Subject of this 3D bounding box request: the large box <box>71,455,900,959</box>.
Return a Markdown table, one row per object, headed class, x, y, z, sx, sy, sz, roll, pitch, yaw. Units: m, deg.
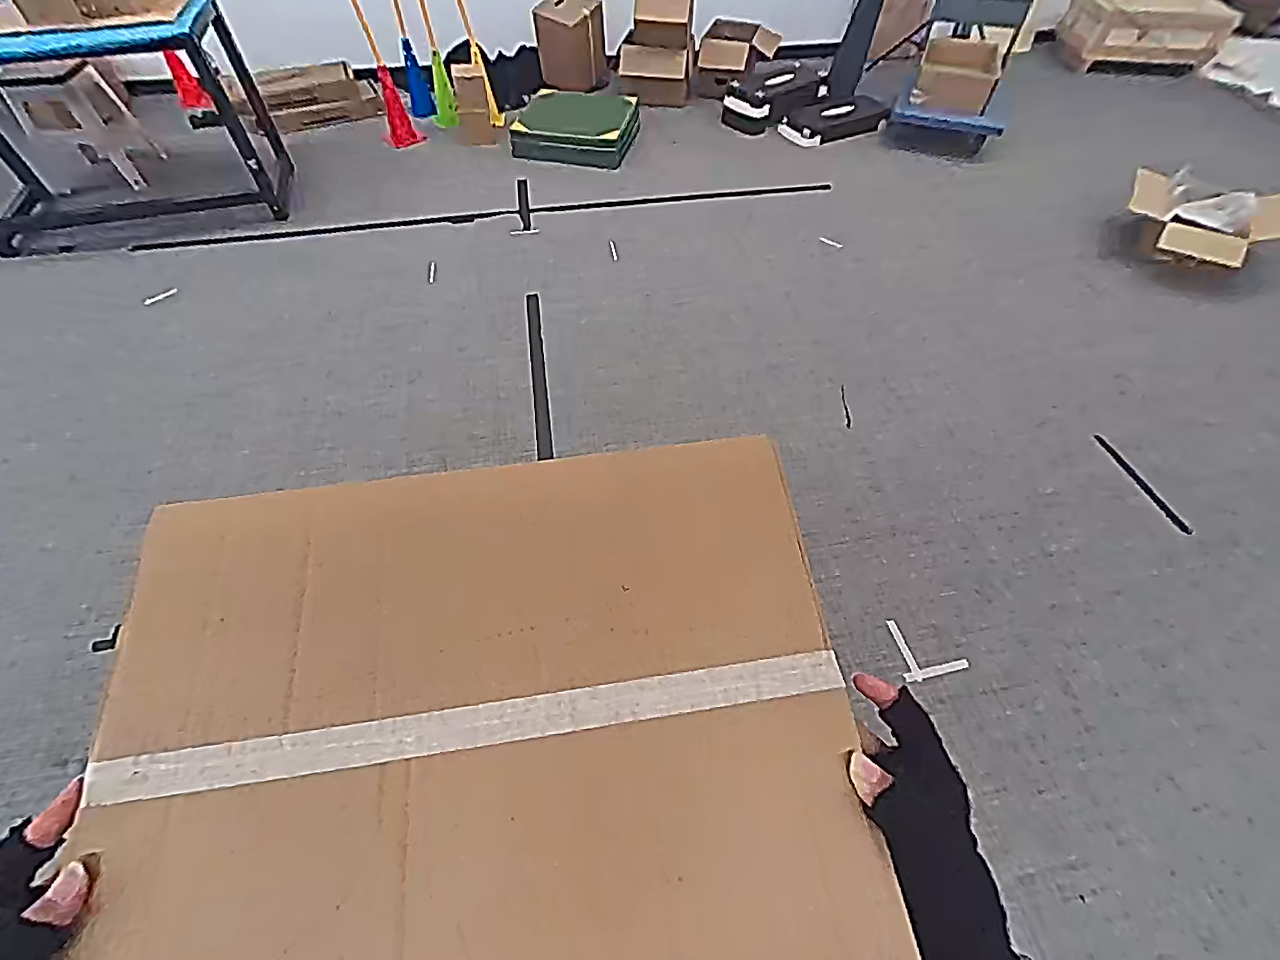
| class | x | y | z | sx | sy | sz | roll | pitch | yaw |
| --- | --- | --- | --- | --- | --- | --- | --- | --- | --- |
| large box | -0.087 | 0.205 | 0.440 | 0.408 | 0.320 | 0.320 | -7 | 65 | -4 |
